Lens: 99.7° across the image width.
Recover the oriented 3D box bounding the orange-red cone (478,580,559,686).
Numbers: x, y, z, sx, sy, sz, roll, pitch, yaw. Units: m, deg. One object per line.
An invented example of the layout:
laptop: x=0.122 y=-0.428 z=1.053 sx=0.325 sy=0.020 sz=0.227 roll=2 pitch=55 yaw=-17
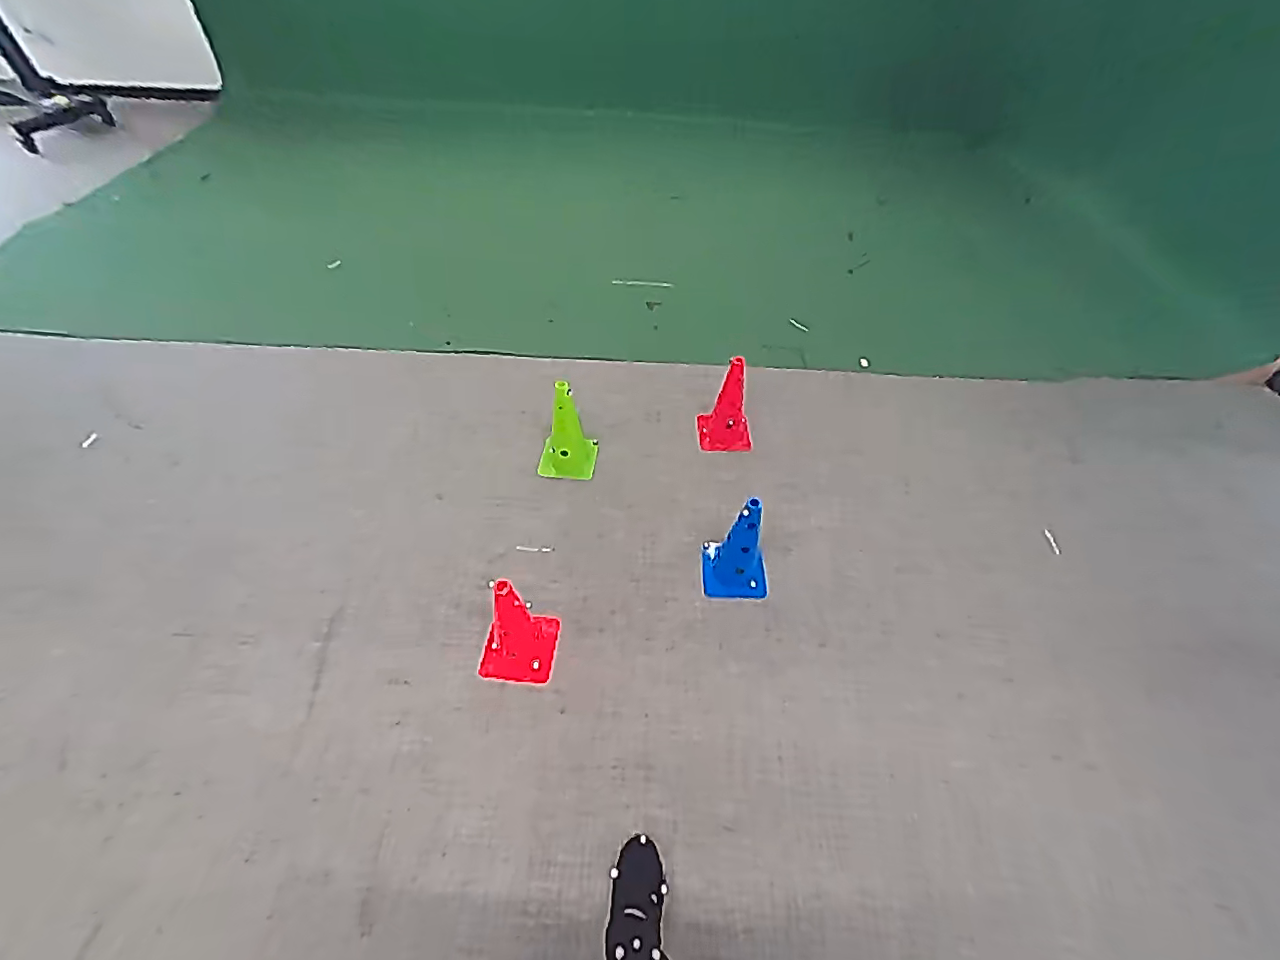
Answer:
orange-red cone: x=-0.332 y=0.363 z=1.405 sx=0.198 sy=0.360 sz=0.199 roll=7 pitch=48 yaw=2

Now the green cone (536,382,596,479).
green cone: x=-0.267 y=-0.194 z=1.875 sx=0.200 sy=0.368 sz=0.202 roll=4 pitch=51 yaw=1
